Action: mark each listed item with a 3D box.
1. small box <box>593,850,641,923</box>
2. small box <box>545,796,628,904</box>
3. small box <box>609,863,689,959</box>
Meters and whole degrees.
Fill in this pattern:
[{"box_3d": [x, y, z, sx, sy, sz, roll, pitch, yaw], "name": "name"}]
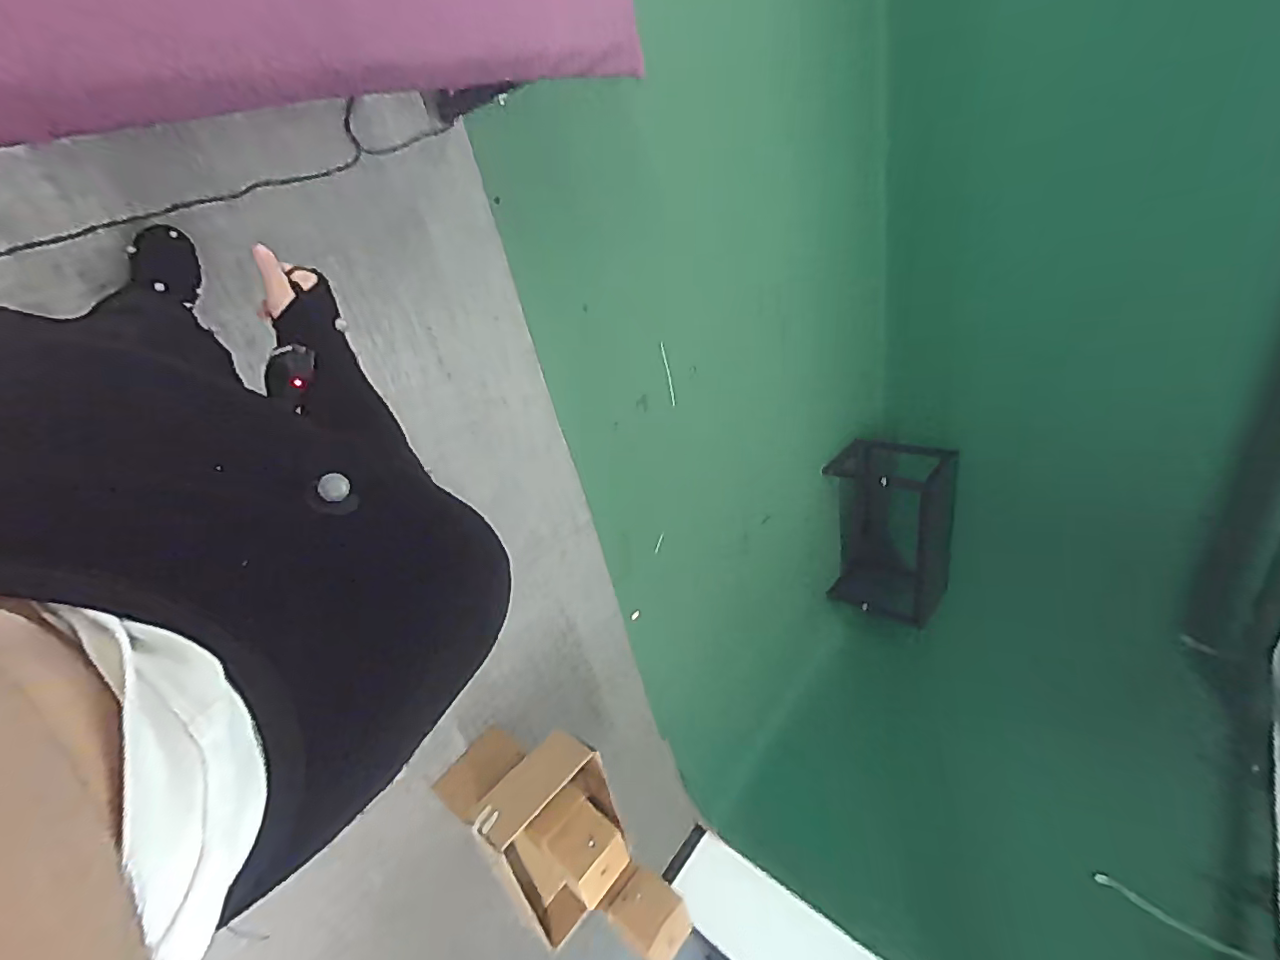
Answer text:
[{"box_3d": [-0.087, 1.321, 1.784, 0.168, 0.176, 0.179, -39, 126, -32], "name": "small box"}, {"box_3d": [-0.167, 1.113, 1.638, 0.179, 0.176, 0.168, -37, 127, -36], "name": "small box"}, {"box_3d": [0.027, 1.337, 1.664, 0.168, 0.176, 0.179, -33, 122, -38], "name": "small box"}]
